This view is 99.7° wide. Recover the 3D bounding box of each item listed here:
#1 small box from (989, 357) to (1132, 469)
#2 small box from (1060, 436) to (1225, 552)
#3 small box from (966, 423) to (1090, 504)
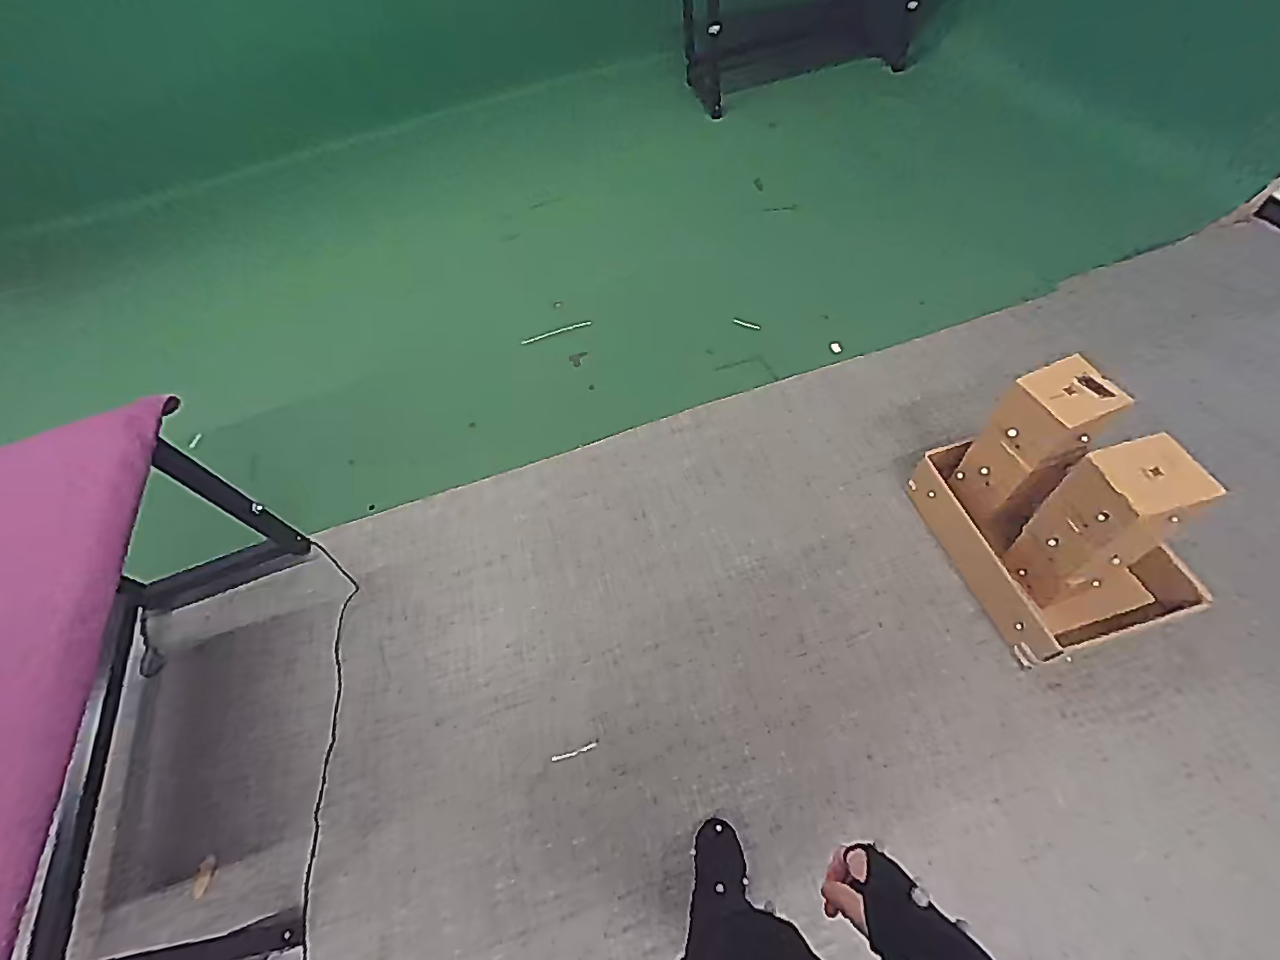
[{"bbox_3d":[0.992,-0.157,1.294,0.179,0.176,0.168,-22,58,-6],"label":"small box"},{"bbox_3d":[1.059,0.035,1.167,0.179,0.176,0.168,-15,55,0],"label":"small box"},{"bbox_3d":[1.011,-0.061,1.427,0.179,0.176,0.168,-17,57,-2],"label":"small box"}]
